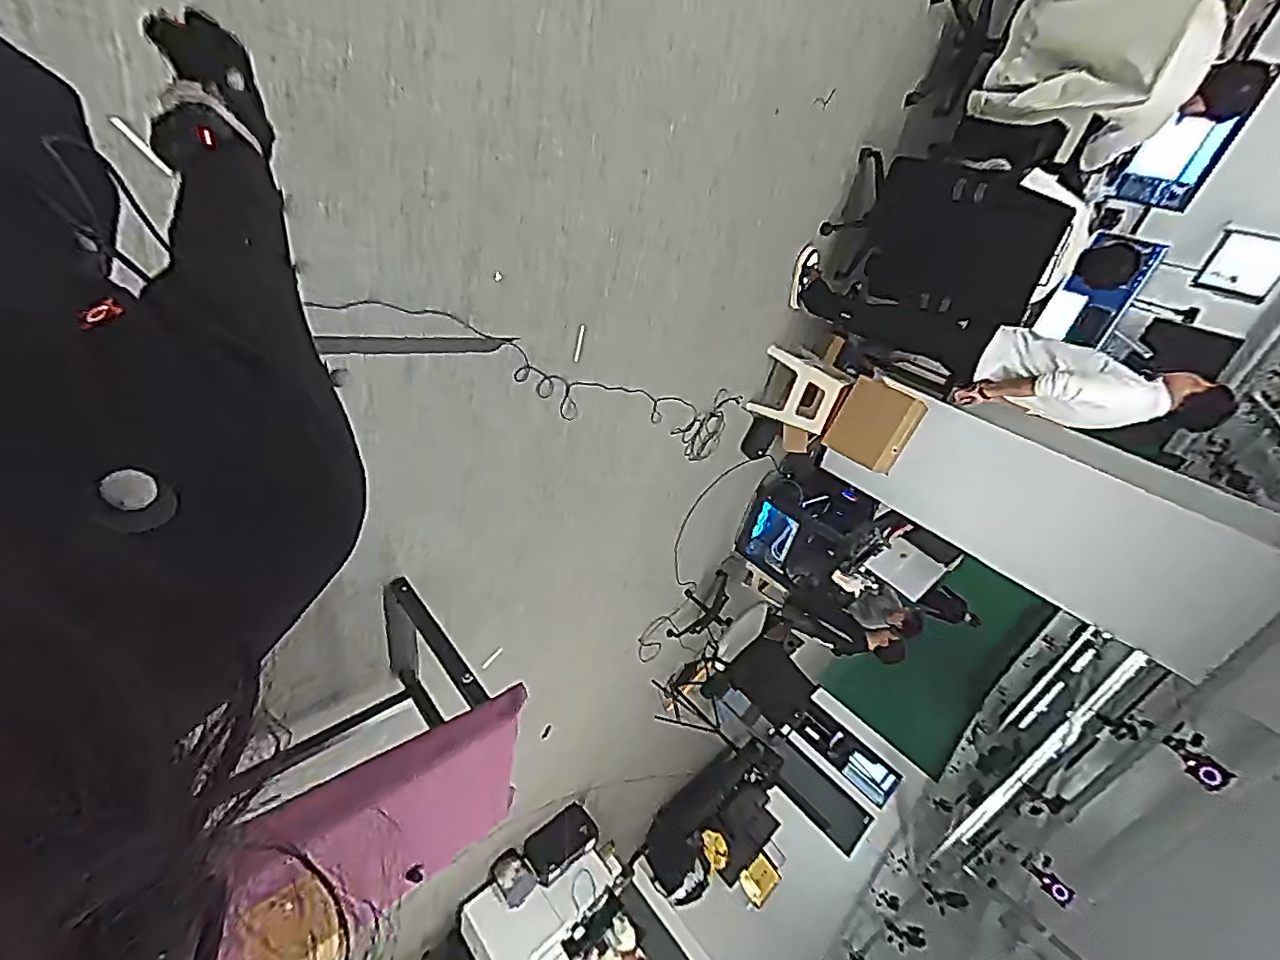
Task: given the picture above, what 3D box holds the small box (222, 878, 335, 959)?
[{"bbox_3d":[-0.821,1.066,1.236,0.168,0.176,0.179,-21,135,-40],"label":"small box"}]
